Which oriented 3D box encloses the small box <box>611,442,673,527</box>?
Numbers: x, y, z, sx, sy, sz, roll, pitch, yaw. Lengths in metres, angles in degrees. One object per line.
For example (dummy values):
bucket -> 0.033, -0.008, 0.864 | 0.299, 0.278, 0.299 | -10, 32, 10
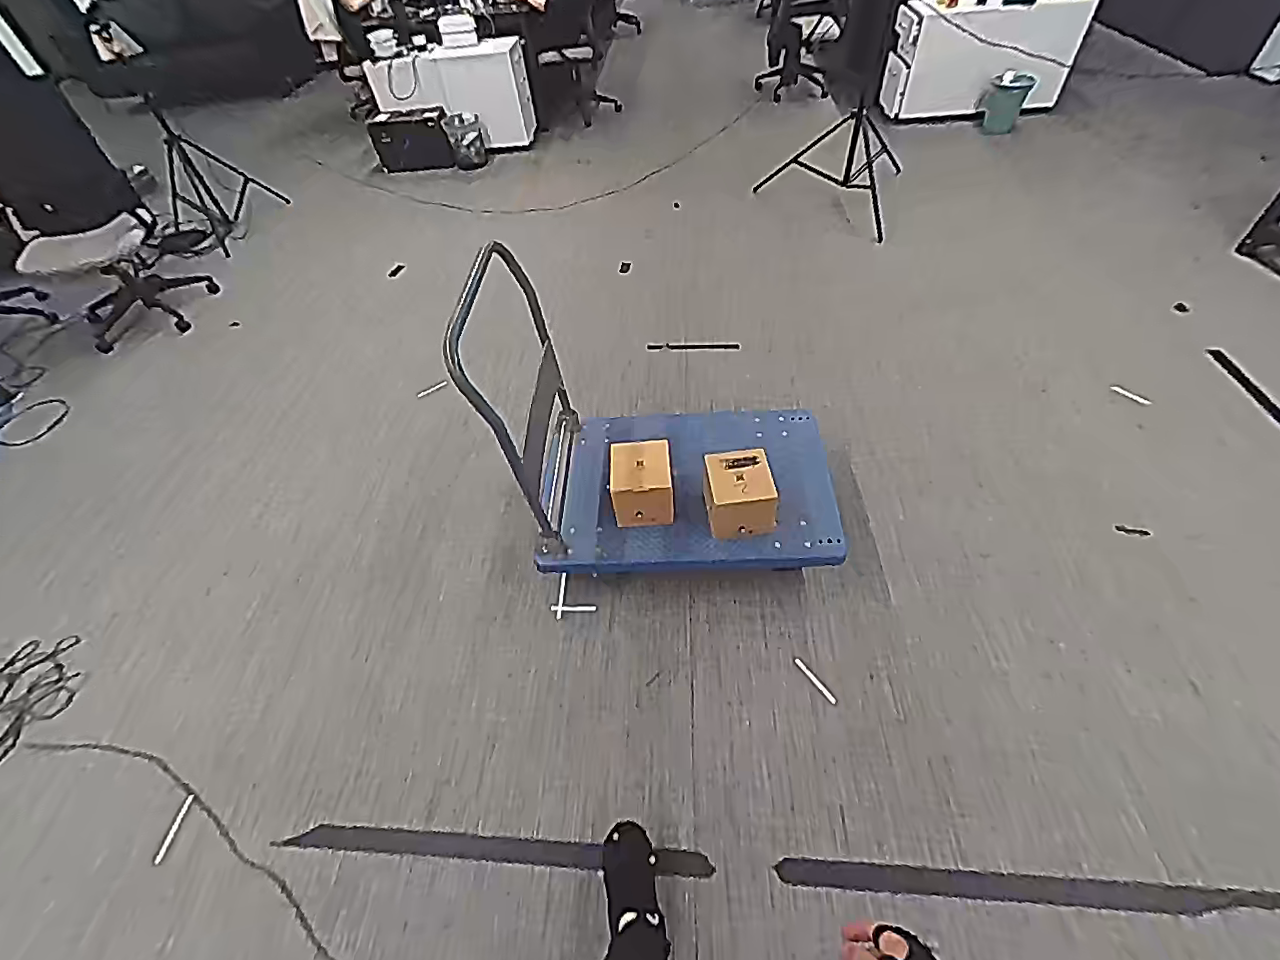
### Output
small box -> 0.007, 0.014, 1.548 | 0.168, 0.176, 0.179 | -4, 51, 2
